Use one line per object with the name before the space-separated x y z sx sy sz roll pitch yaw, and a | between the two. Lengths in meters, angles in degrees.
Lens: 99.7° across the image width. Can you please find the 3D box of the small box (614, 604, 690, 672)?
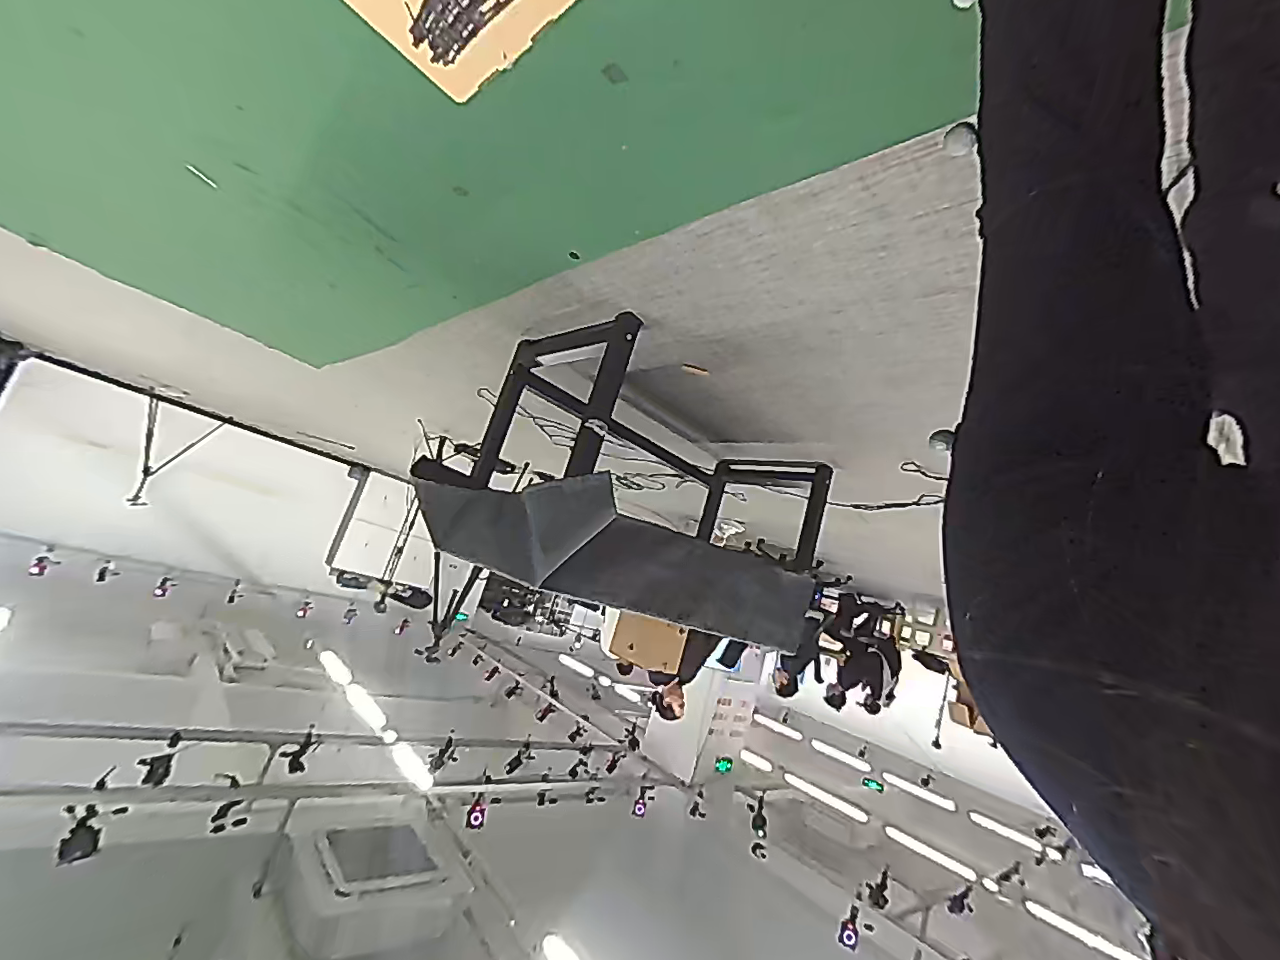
small box | 0.046 0.520 1.795 0.168 0.176 0.179 27 166 -39
